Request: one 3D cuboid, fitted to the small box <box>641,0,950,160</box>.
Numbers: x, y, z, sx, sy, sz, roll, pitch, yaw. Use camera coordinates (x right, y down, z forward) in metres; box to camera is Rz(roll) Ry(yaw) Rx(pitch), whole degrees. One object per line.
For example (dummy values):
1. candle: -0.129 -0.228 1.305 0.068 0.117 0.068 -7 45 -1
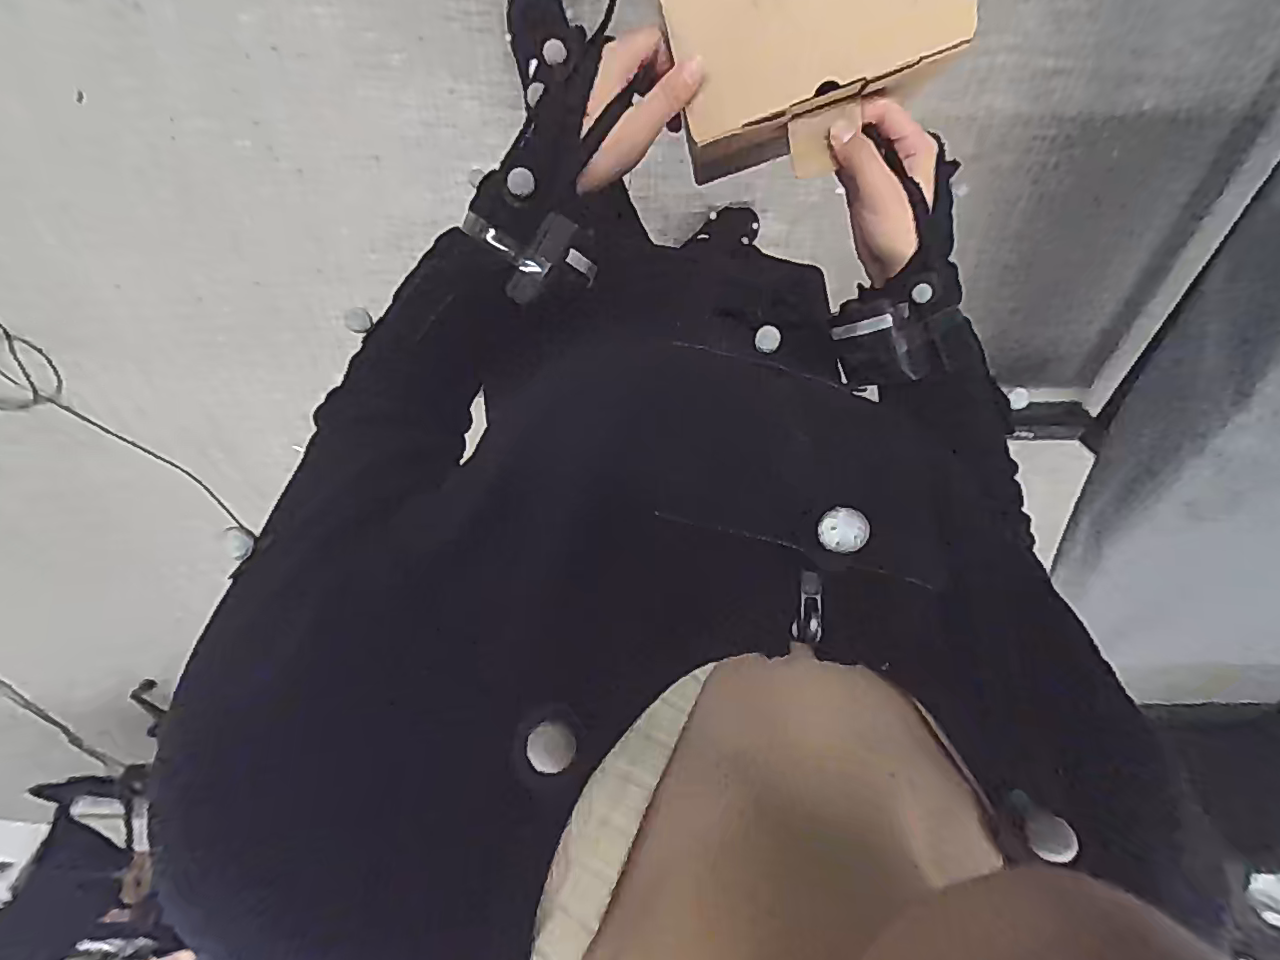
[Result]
1. small box: 0.085 -0.342 0.369 0.168 0.176 0.179 -14 109 12
